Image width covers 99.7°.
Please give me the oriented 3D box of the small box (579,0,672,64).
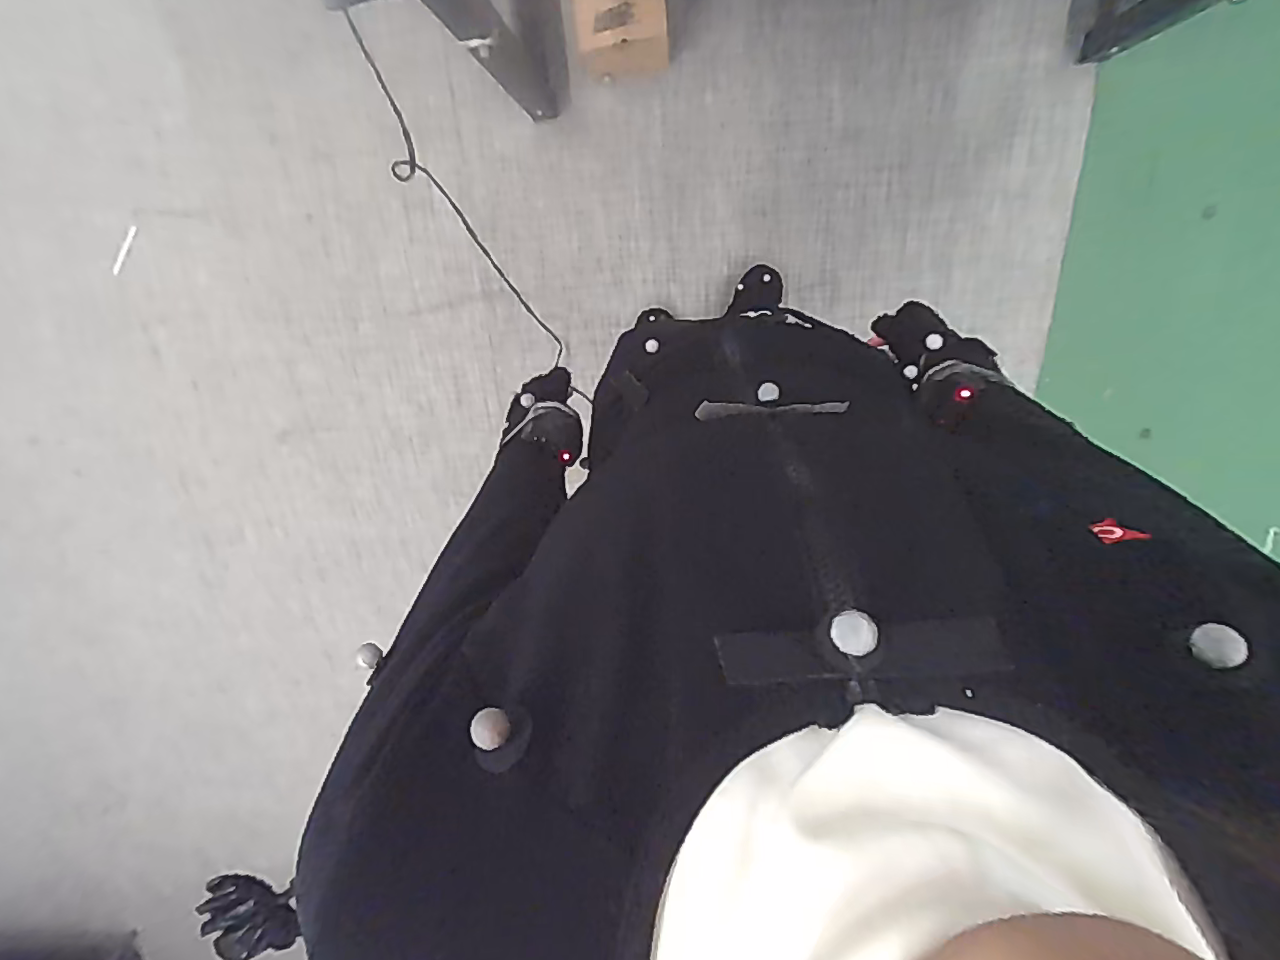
[{"bbox_3d":[-0.027,-0.930,1.034,0.168,0.176,0.179,-6,111,5],"label":"small box"}]
